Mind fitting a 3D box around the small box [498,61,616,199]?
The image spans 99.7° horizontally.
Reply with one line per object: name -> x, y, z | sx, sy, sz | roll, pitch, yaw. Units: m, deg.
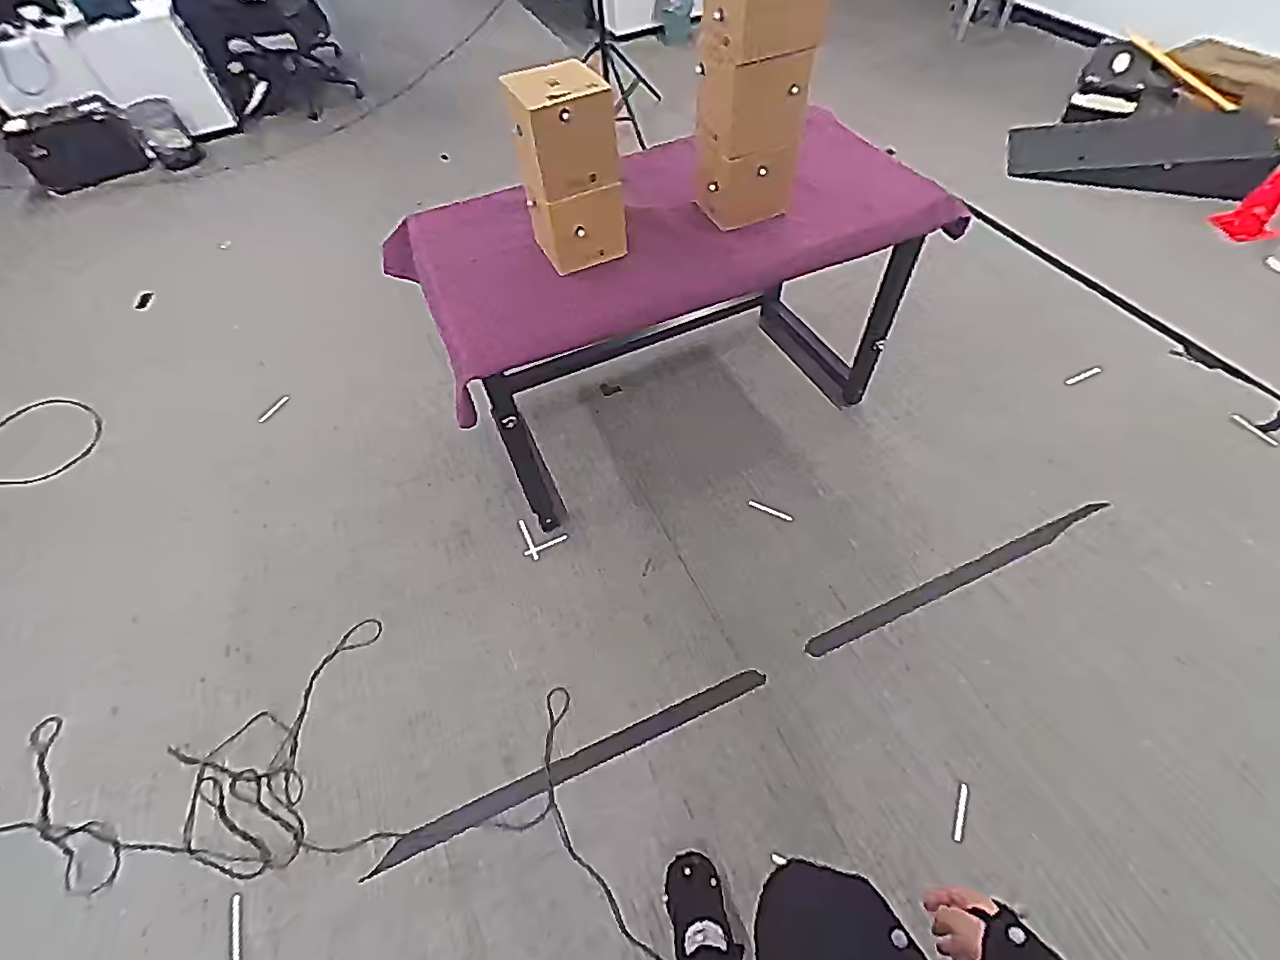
small box -> -0.160, -0.690, 1.072 | 0.168, 0.176, 0.179 | -25, 56, -12

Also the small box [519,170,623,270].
small box -> -0.147, -0.592, 1.203 | 0.168, 0.176, 0.179 | -23, 57, -11

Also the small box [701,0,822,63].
small box -> 0.223, -0.903, 0.987 | 0.179, 0.176, 0.168 | -21, 57, -10

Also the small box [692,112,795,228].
small box -> 0.233, -0.718, 1.260 | 0.179, 0.176, 0.168 | -21, 58, -10
